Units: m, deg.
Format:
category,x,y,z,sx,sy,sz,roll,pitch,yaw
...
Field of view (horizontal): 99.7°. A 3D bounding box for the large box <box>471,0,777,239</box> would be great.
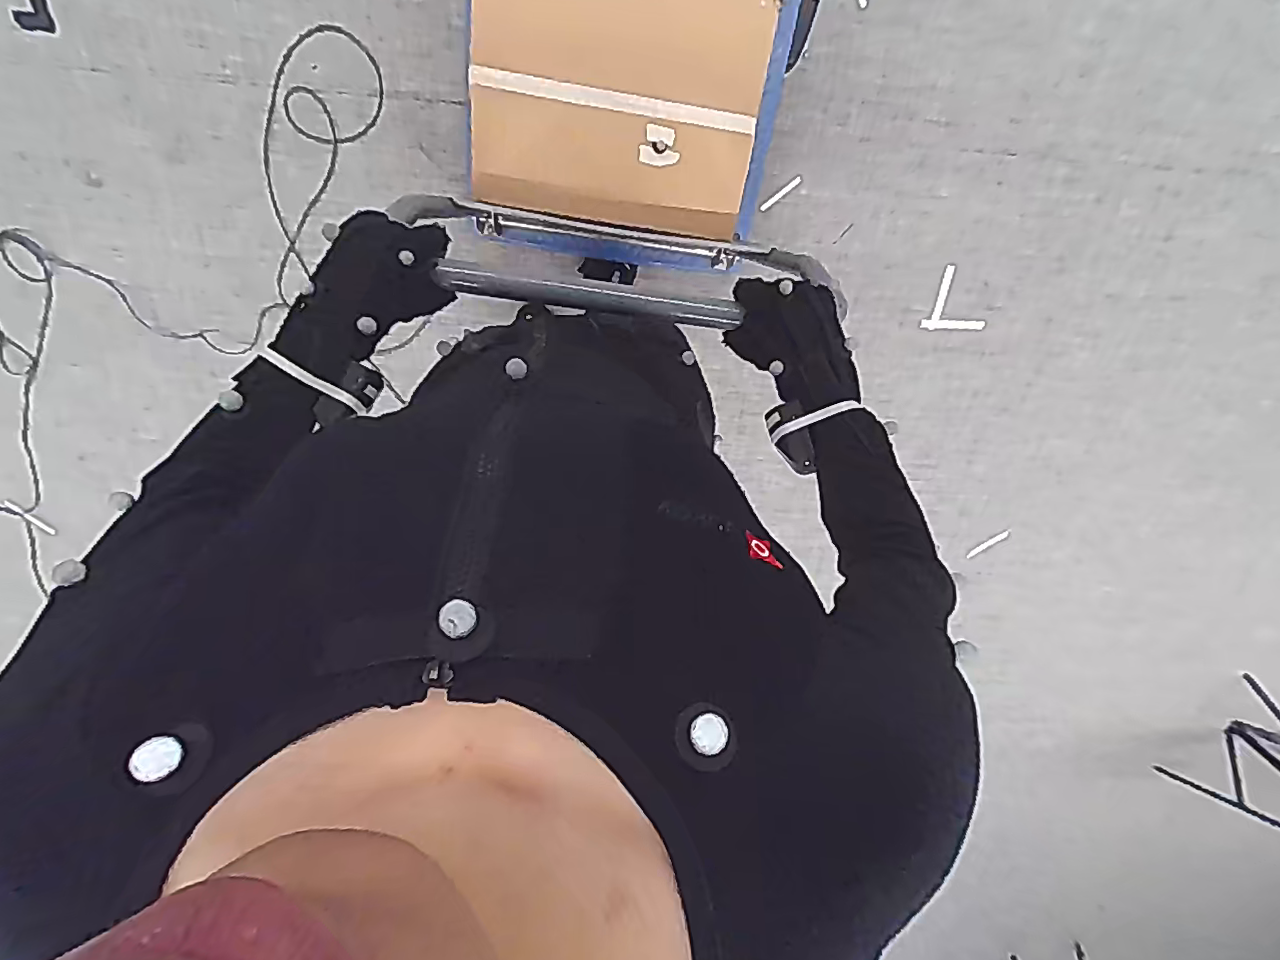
category,x,y,z,sx,sy,sz,roll,pitch,yaw
large box,-0.045,-0.598,0.888,0.408,0.320,0.320,5,118,-8
